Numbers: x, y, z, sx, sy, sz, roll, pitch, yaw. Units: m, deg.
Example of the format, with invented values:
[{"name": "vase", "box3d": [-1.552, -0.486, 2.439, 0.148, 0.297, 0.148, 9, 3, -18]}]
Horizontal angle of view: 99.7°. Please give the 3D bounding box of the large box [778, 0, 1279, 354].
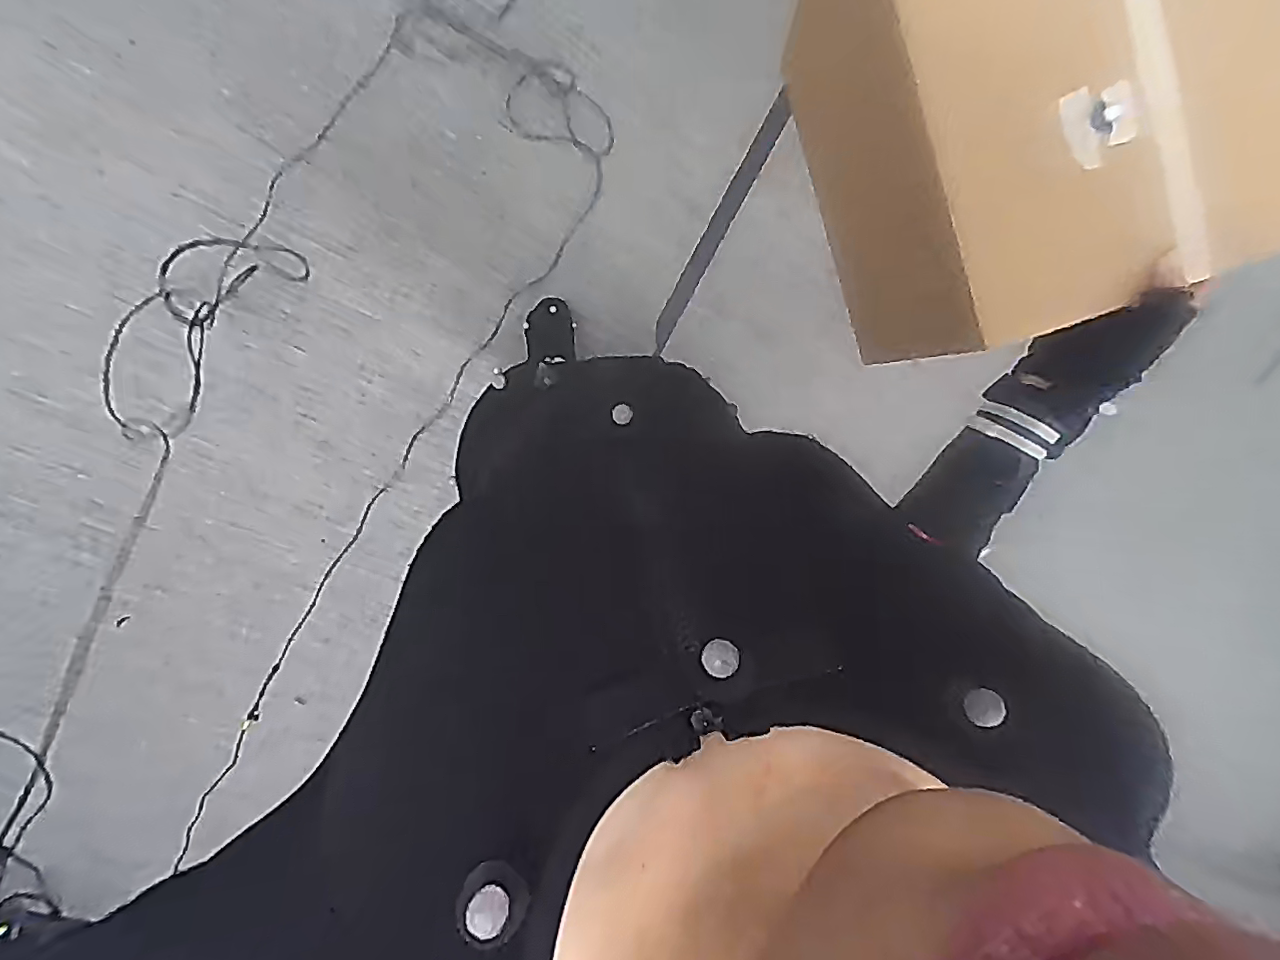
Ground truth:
[{"name": "large box", "box3d": [0.371, -0.375, 0.549, 0.320, 0.320, 0.408, -19, 99, 9]}]
